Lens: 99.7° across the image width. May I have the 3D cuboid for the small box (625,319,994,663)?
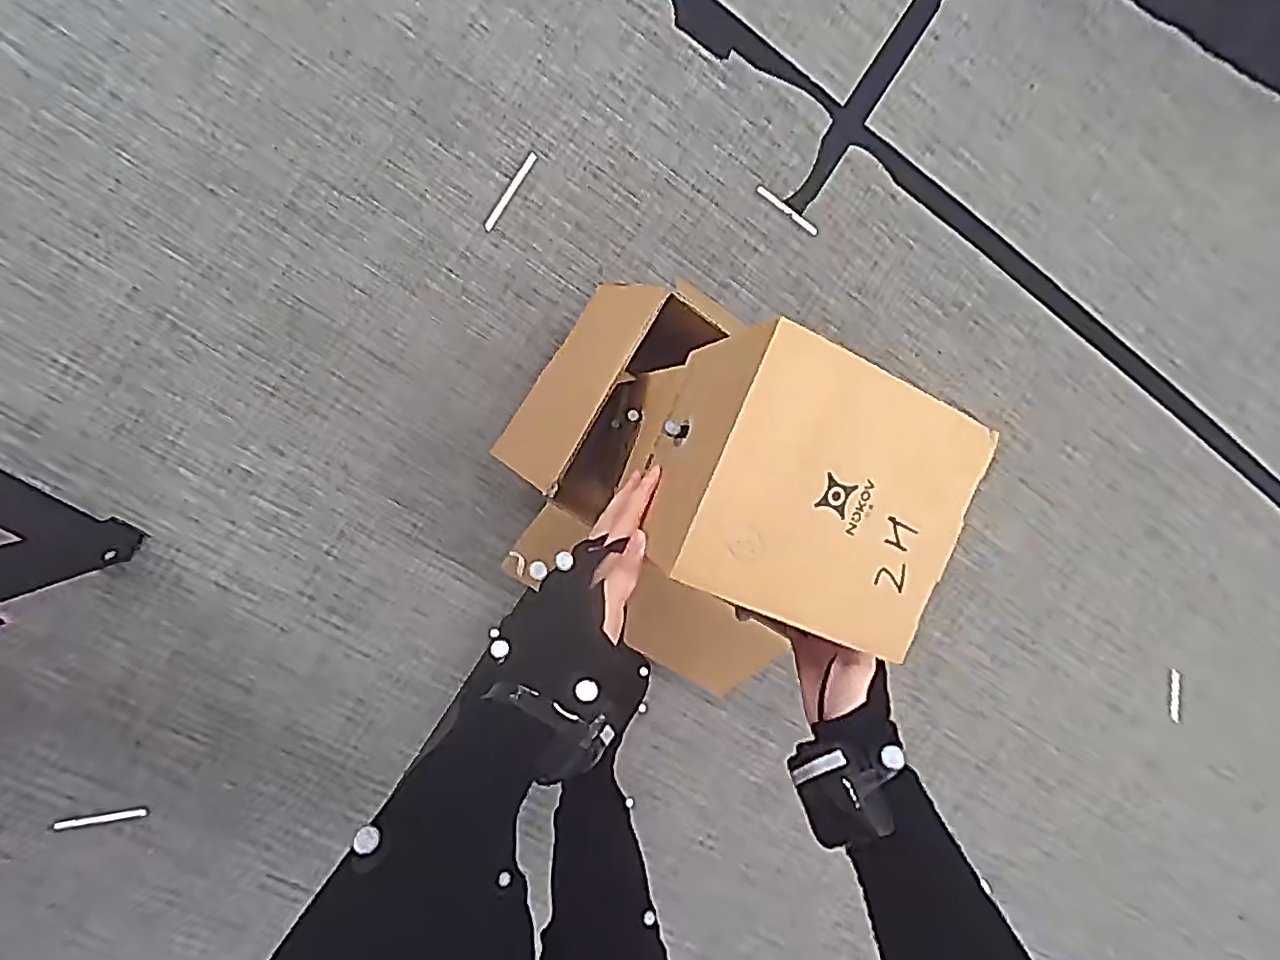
[{"bbox_3d":[0.104,0.005,0.409,0.179,0.176,0.168,24,92,-14],"label":"small box"}]

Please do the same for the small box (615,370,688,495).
[{"bbox_3d":[0.072,-0.045,0.737,0.179,0.176,0.168,11,96,-14],"label":"small box"}]
